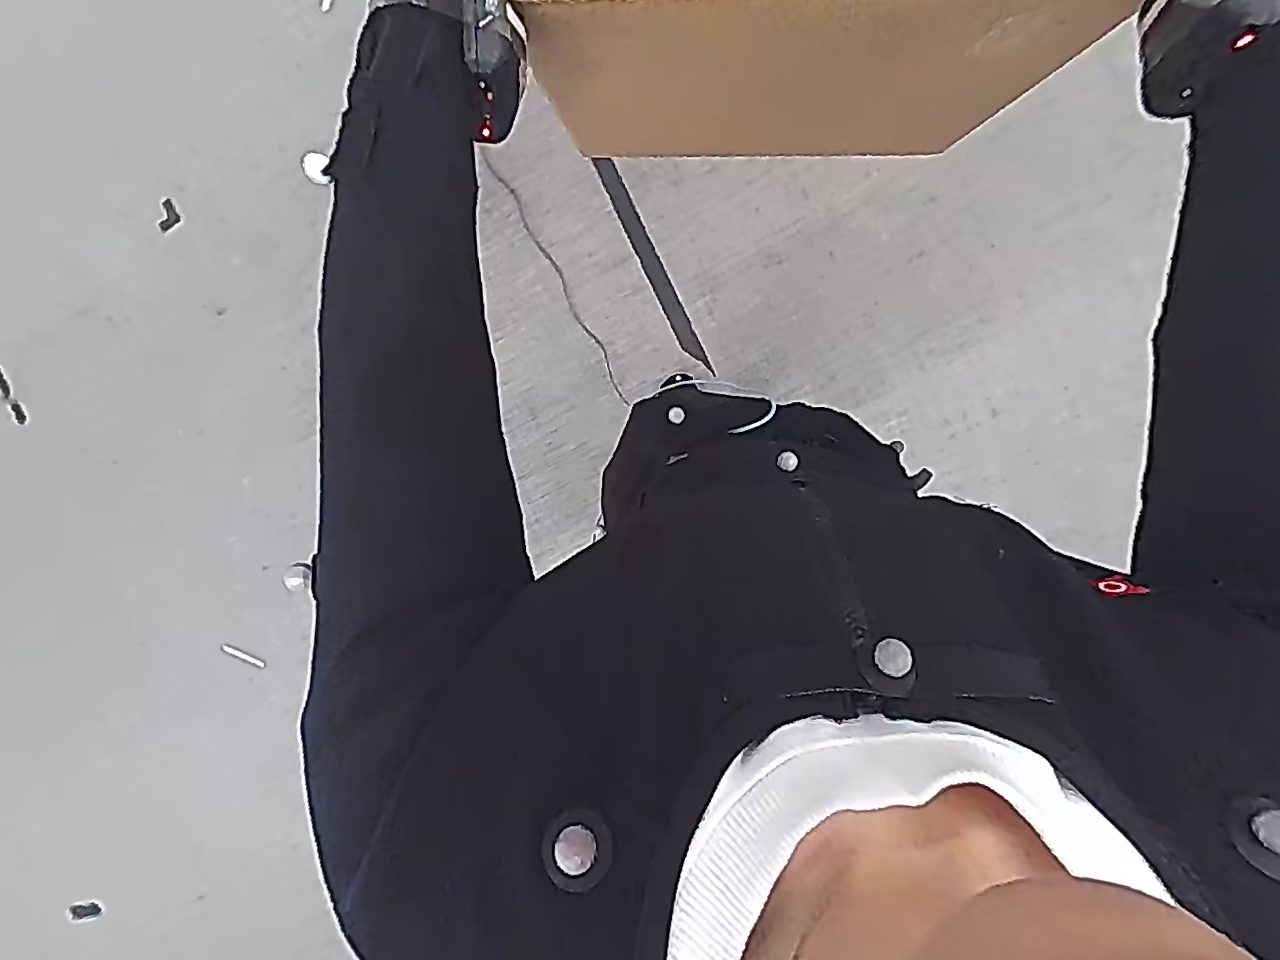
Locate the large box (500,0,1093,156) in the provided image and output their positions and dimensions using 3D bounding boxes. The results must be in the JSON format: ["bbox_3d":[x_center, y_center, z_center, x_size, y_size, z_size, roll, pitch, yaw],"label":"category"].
[{"bbox_3d":[0.110,-0.485,0.433,0.408,0.320,0.320,1,105,4],"label":"large box"}]
